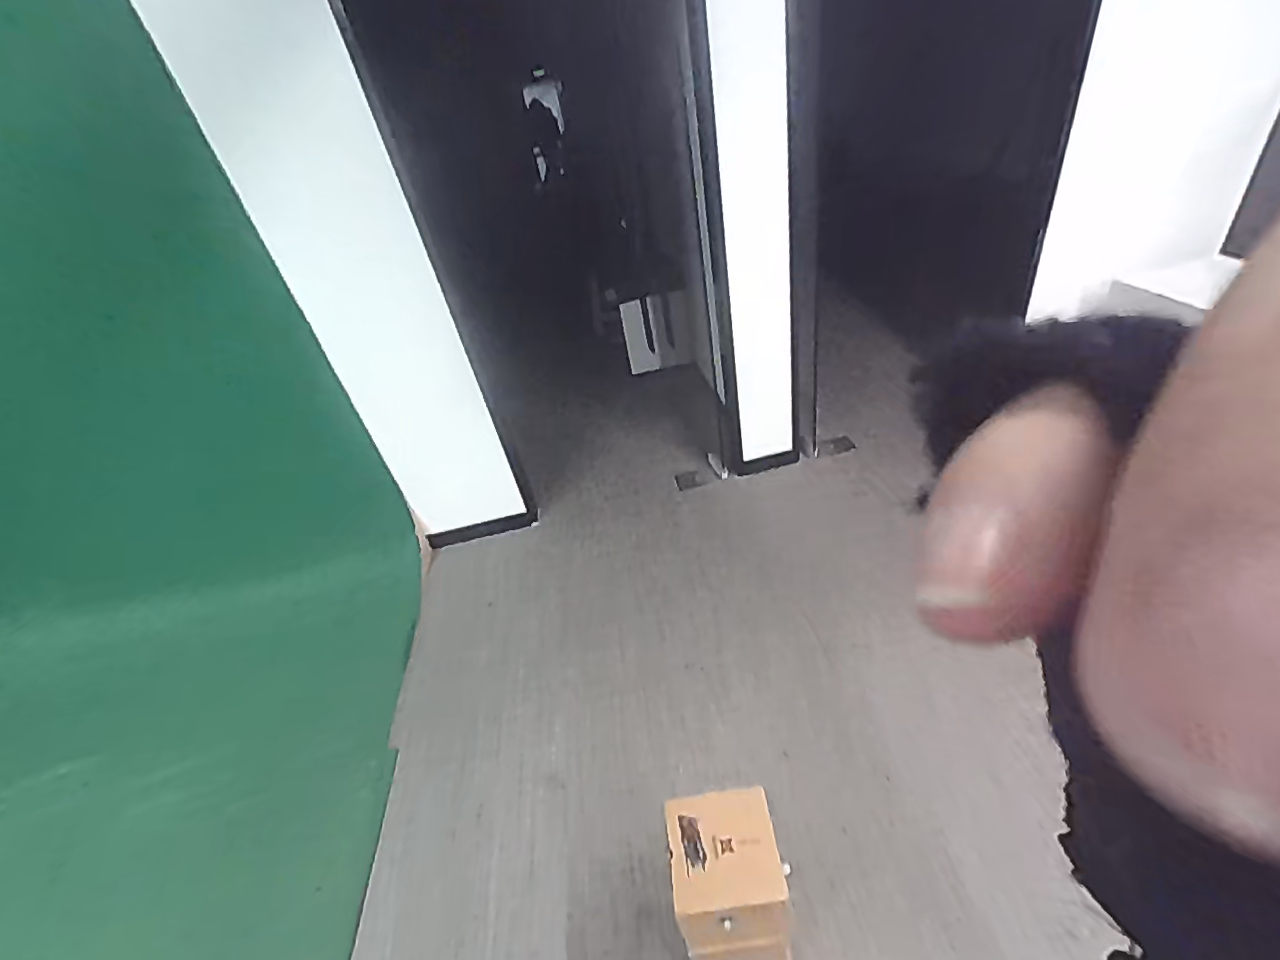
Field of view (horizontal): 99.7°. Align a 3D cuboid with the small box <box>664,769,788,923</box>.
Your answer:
[{"bbox_3d":[0.146,0.631,0.929,0.179,0.176,0.168,-11,36,4],"label":"small box"}]

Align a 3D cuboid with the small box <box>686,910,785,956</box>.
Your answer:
[{"bbox_3d":[0.170,0.762,1.026,0.168,0.176,0.179,-12,37,4],"label":"small box"}]

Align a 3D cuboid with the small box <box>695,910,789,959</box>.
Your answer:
[{"bbox_3d":[0.201,0.893,1.117,0.179,0.176,0.168,-10,36,4],"label":"small box"}]
